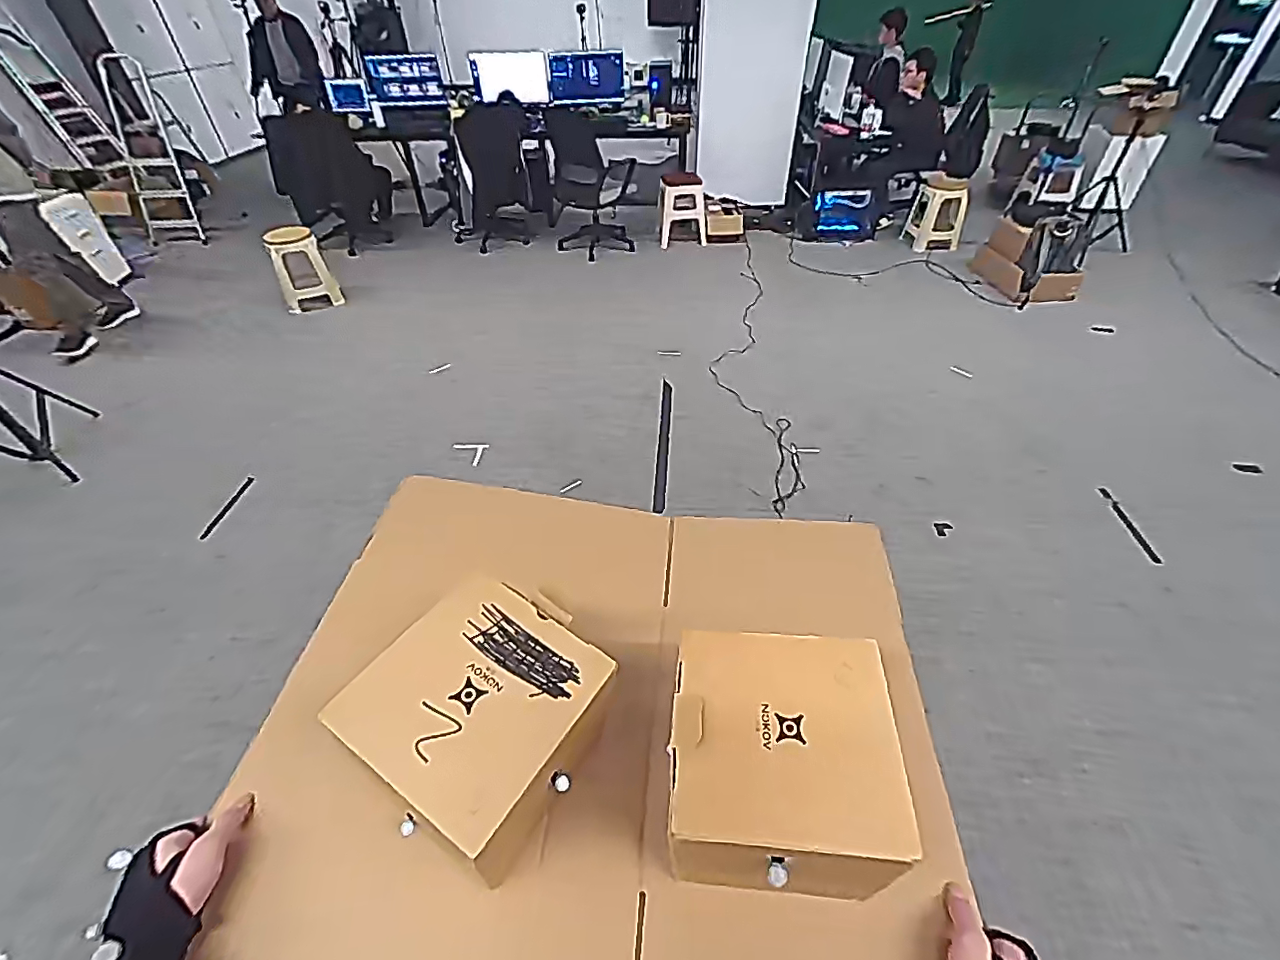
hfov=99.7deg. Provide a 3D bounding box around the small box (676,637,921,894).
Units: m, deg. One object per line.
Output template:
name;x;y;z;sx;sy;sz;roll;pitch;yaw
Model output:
small box;0.127;0.264;0.501;0.179;0.176;0.168;0;45;8
